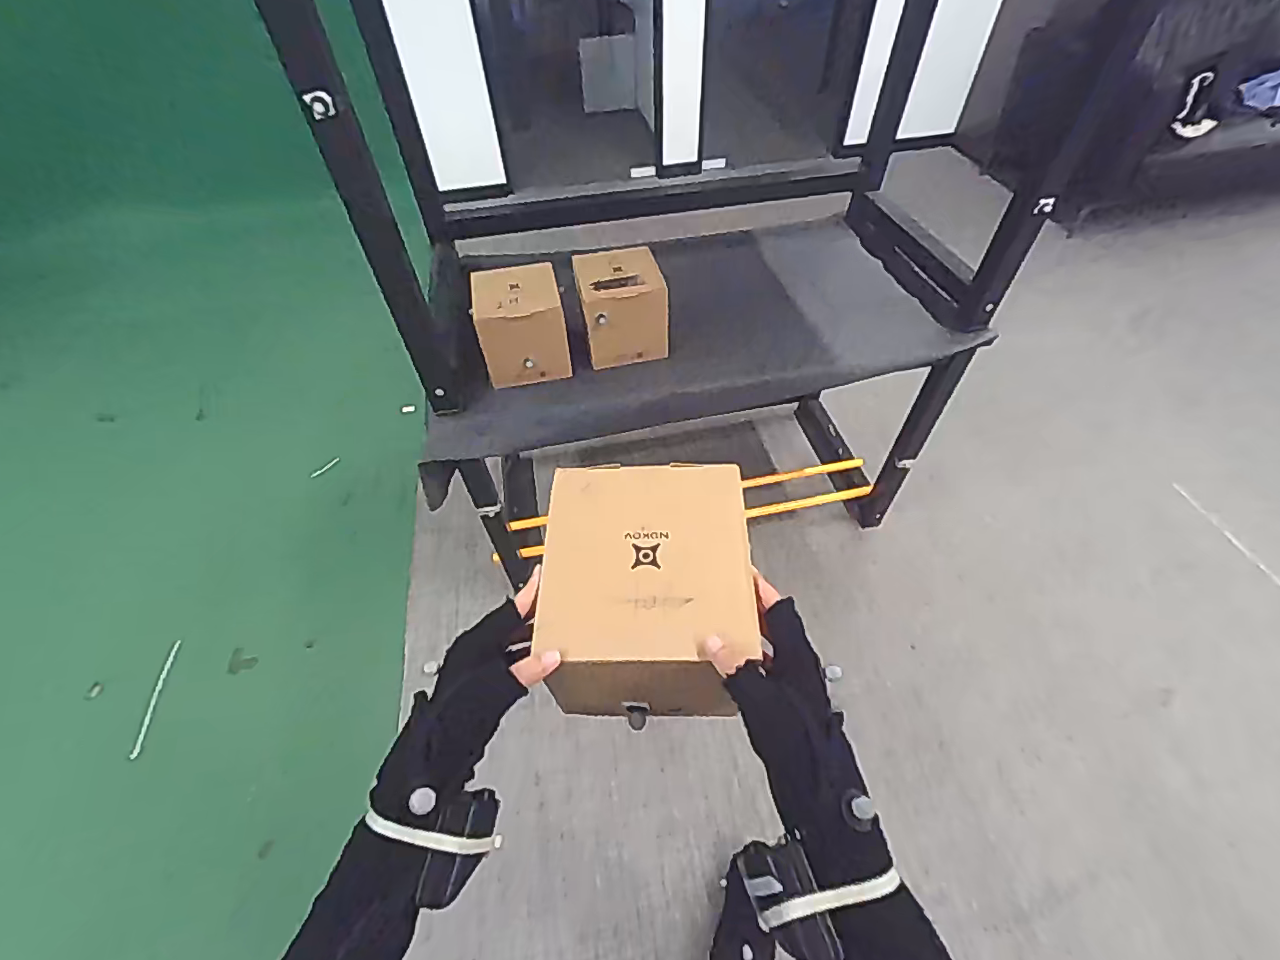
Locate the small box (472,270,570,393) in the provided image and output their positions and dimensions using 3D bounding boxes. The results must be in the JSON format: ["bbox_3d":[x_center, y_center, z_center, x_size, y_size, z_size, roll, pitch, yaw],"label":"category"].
[{"bbox_3d":[-0.244,-0.304,1.114,0.168,0.176,0.179,-11,51,-8],"label":"small box"}]

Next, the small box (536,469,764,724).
[{"bbox_3d":[0.011,0.108,0.495,0.168,0.176,0.179,-1,53,2],"label":"small box"}]
